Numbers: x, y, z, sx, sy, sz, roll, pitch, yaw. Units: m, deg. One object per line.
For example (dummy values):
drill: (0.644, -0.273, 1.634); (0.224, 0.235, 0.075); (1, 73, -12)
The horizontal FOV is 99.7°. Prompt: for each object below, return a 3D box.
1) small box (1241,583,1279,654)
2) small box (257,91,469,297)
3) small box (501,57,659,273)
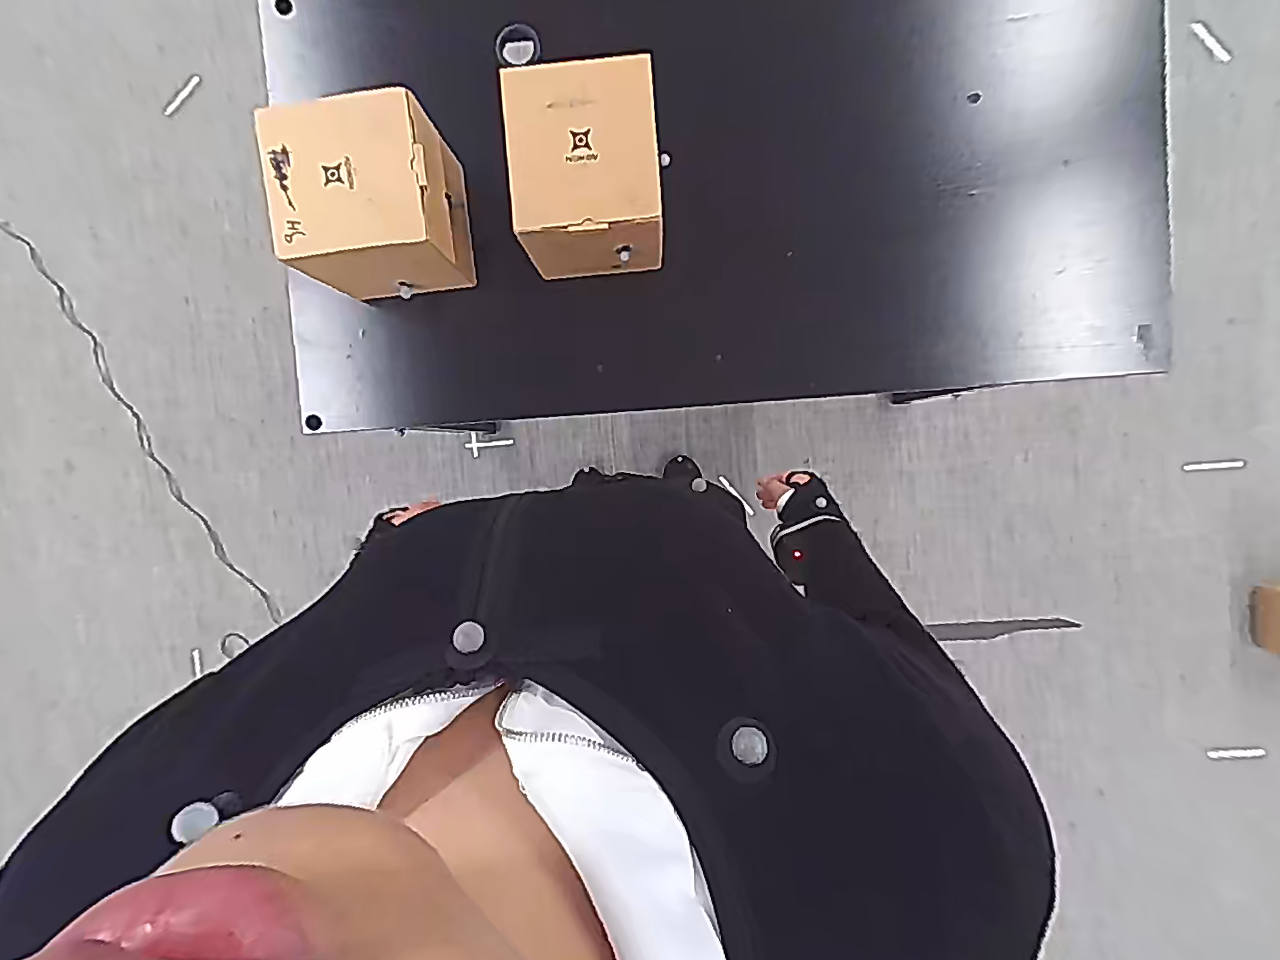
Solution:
small box: (1.729, 0.367, 1.401); (0.168, 0.176, 0.179); (-4, 94, 2)
small box: (-0.323, -0.339, 0.672); (0.179, 0.176, 0.168); (-6, 93, 0)
small box: (-0.063, -0.368, 0.668); (0.168, 0.176, 0.179); (-5, 92, 0)
